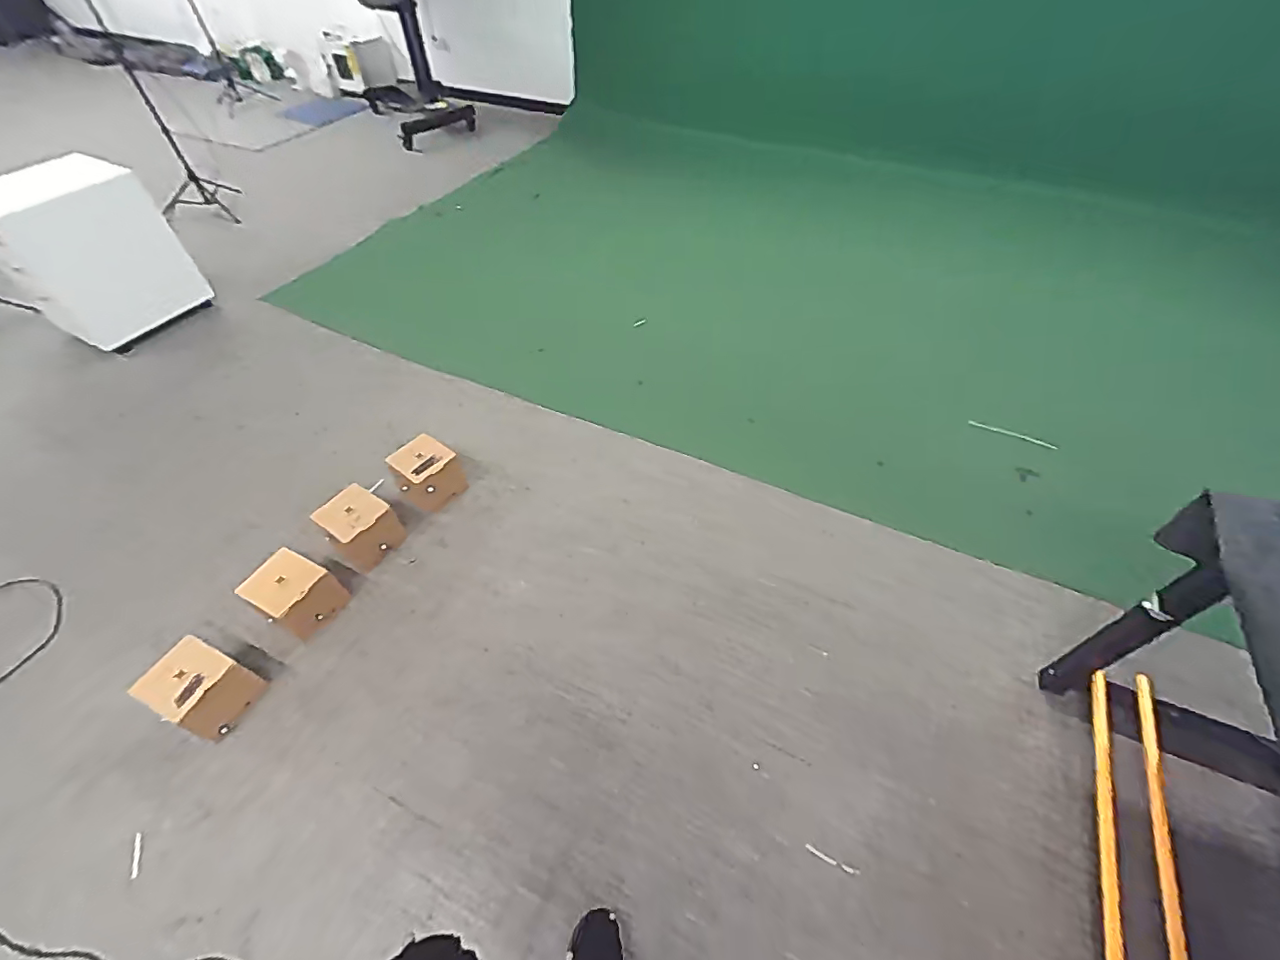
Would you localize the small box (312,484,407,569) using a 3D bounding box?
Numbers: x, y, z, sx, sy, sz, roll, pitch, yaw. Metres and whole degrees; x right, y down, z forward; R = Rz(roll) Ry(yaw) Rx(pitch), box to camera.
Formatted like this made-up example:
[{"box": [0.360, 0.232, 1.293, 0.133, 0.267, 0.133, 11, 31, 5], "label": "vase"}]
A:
[{"box": [-0.869, 0.149, 1.689, 0.179, 0.176, 0.168, 28, 55, 21], "label": "small box"}]

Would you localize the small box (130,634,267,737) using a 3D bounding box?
[{"box": [-1.102, 0.525, 1.366, 0.179, 0.176, 0.168, 20, 52, 17], "label": "small box"}]

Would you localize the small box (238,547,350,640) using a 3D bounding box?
[{"box": [-0.976, 0.327, 1.538, 0.179, 0.176, 0.168, 21, 53, 16], "label": "small box"}]
